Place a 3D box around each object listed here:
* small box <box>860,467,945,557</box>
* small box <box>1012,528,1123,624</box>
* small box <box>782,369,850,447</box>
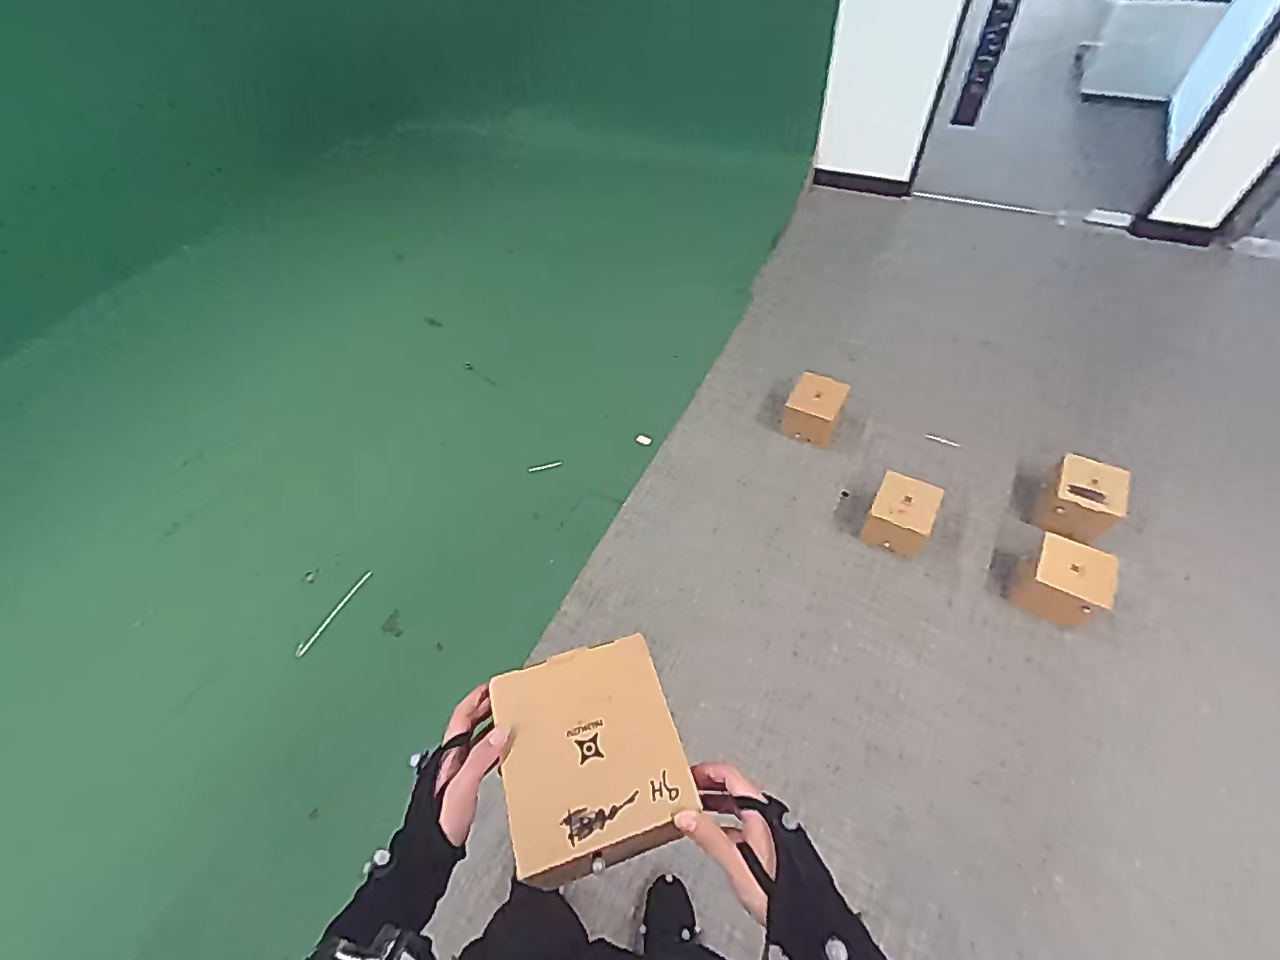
[{"bbox_3d":[0.781,0.098,1.622,0.168,0.176,0.179,23,62,21],"label":"small box"},{"bbox_3d":[1.151,0.265,1.467,0.179,0.176,0.168,24,63,20],"label":"small box"},{"bbox_3d":[0.604,-0.248,1.876,0.168,0.176,0.179,24,63,22],"label":"small box"}]
